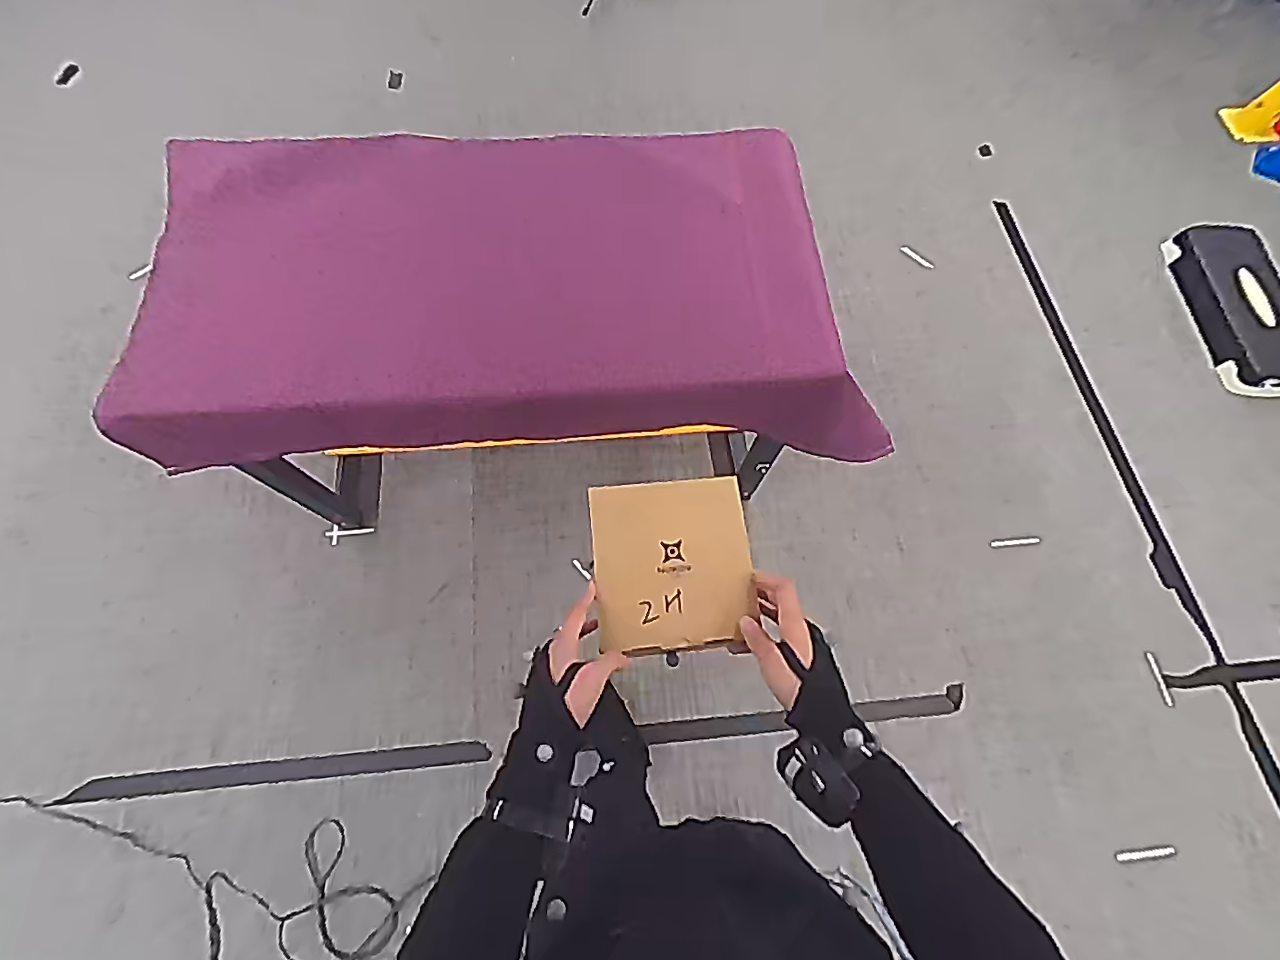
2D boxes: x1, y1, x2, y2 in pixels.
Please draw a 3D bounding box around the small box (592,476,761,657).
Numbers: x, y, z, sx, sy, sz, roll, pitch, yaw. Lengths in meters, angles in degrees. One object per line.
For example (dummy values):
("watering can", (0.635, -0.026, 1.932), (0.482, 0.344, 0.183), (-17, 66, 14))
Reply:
("small box", (0.031, 0.110, 0.642), (0.168, 0.176, 0.179), (-5, 70, -3))
